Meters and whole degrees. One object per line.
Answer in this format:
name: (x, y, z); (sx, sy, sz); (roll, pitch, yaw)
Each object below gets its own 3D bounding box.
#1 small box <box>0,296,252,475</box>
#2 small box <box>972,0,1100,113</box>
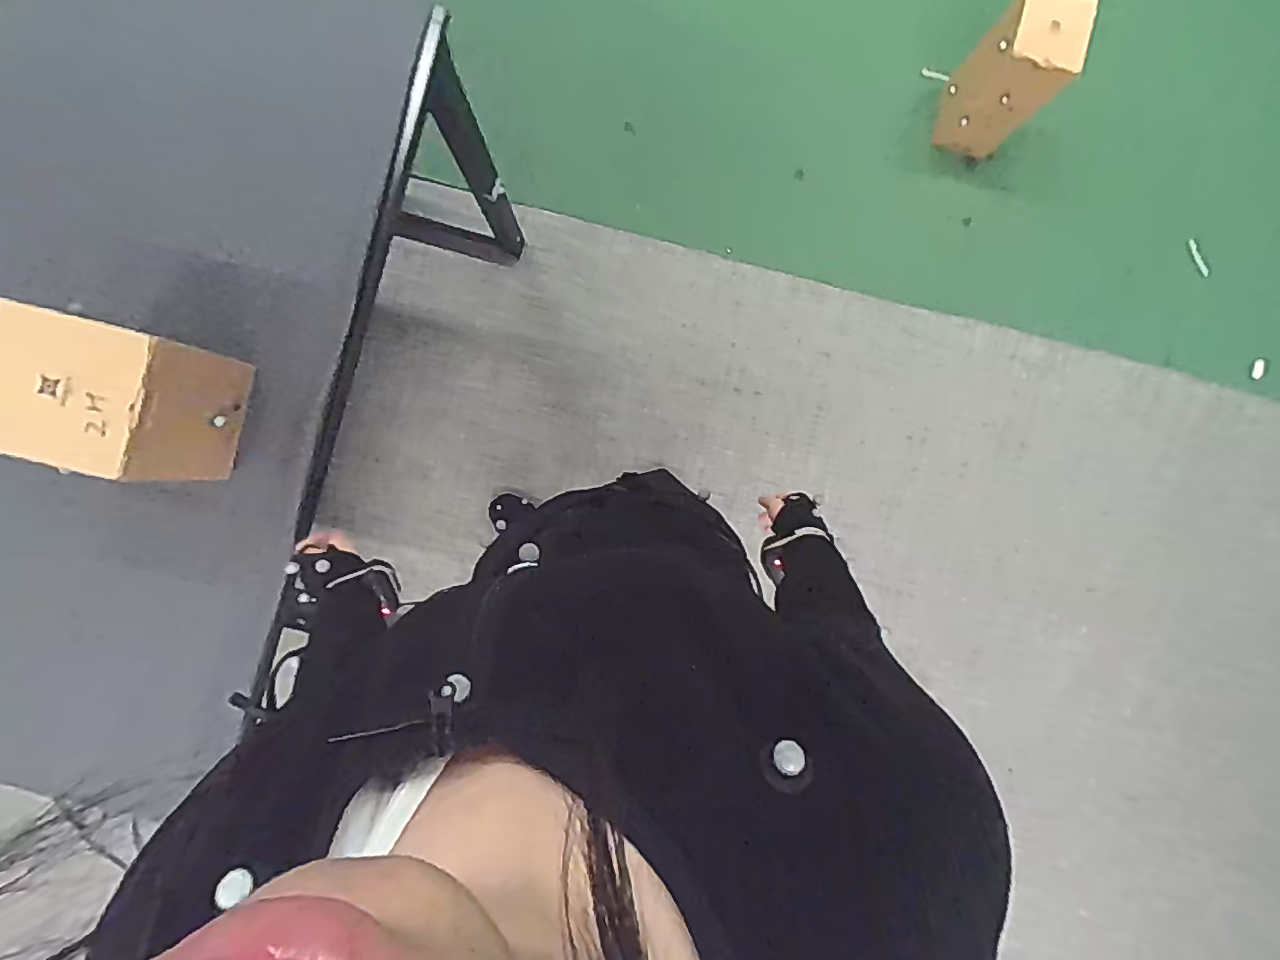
small box: (-0.635, -0.102, 0.665); (0.179, 0.176, 0.168); (14, 90, -1)
small box: (0.925, -1.023, 1.277); (0.168, 0.176, 0.179); (14, 89, -2)
